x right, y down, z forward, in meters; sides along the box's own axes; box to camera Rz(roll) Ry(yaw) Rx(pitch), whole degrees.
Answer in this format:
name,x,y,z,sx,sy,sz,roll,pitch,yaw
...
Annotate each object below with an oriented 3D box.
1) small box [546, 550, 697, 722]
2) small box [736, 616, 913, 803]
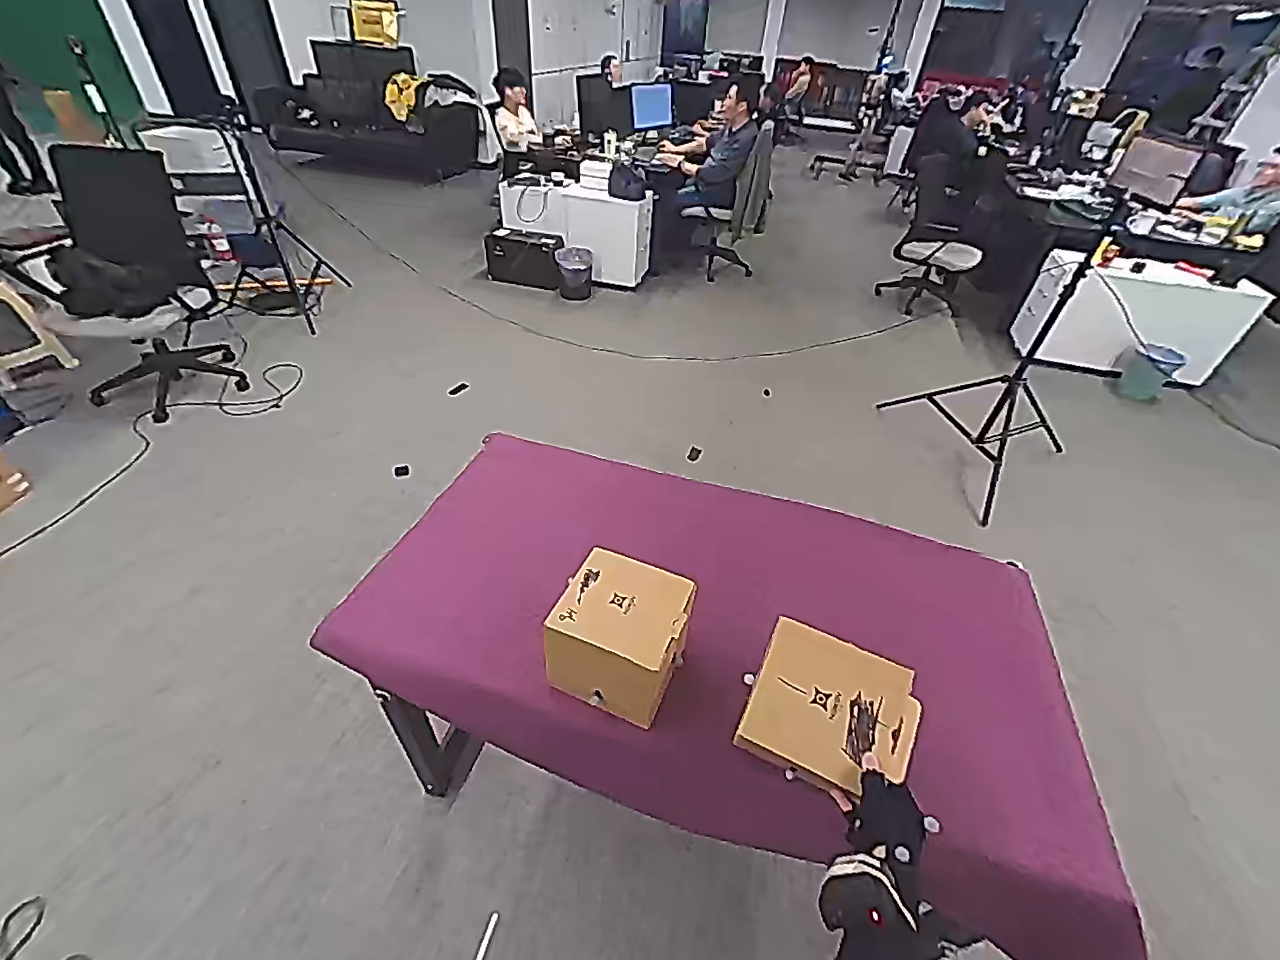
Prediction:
name,x,y,z,sx,sy,sz,roll,pitch,yaw
small box,-0.028,0.245,0.844,0.179,0.176,0.168,18,41,15
small box,0.244,0.317,0.746,0.179,0.176,0.168,20,63,18
